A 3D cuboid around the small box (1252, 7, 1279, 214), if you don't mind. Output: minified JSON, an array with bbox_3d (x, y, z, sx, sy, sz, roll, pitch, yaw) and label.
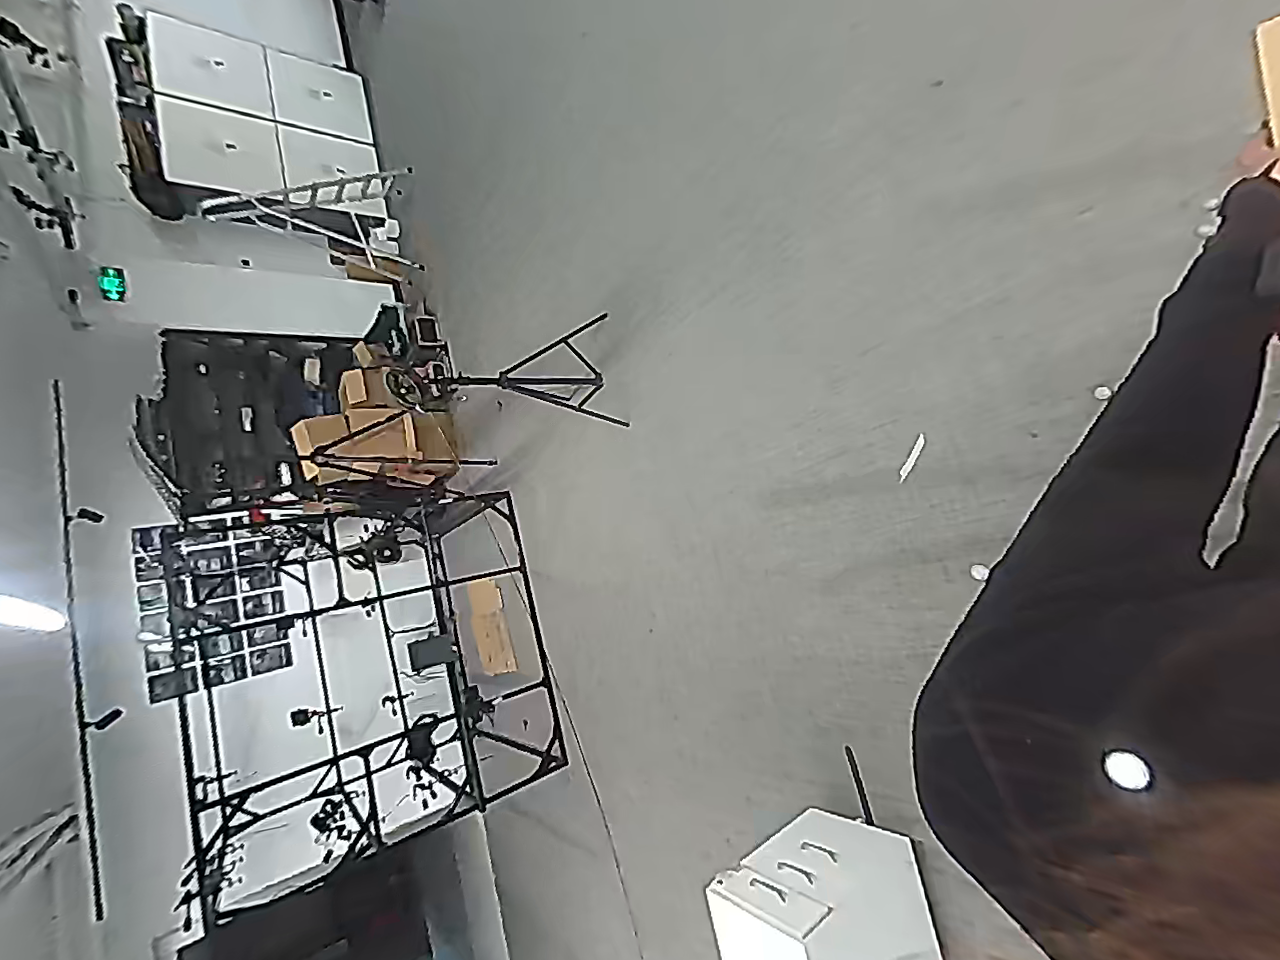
[{"bbox_3d":[0.660,-0.343,0.464,0.168,0.176,0.179,-9,100,50],"label":"small box"}]
